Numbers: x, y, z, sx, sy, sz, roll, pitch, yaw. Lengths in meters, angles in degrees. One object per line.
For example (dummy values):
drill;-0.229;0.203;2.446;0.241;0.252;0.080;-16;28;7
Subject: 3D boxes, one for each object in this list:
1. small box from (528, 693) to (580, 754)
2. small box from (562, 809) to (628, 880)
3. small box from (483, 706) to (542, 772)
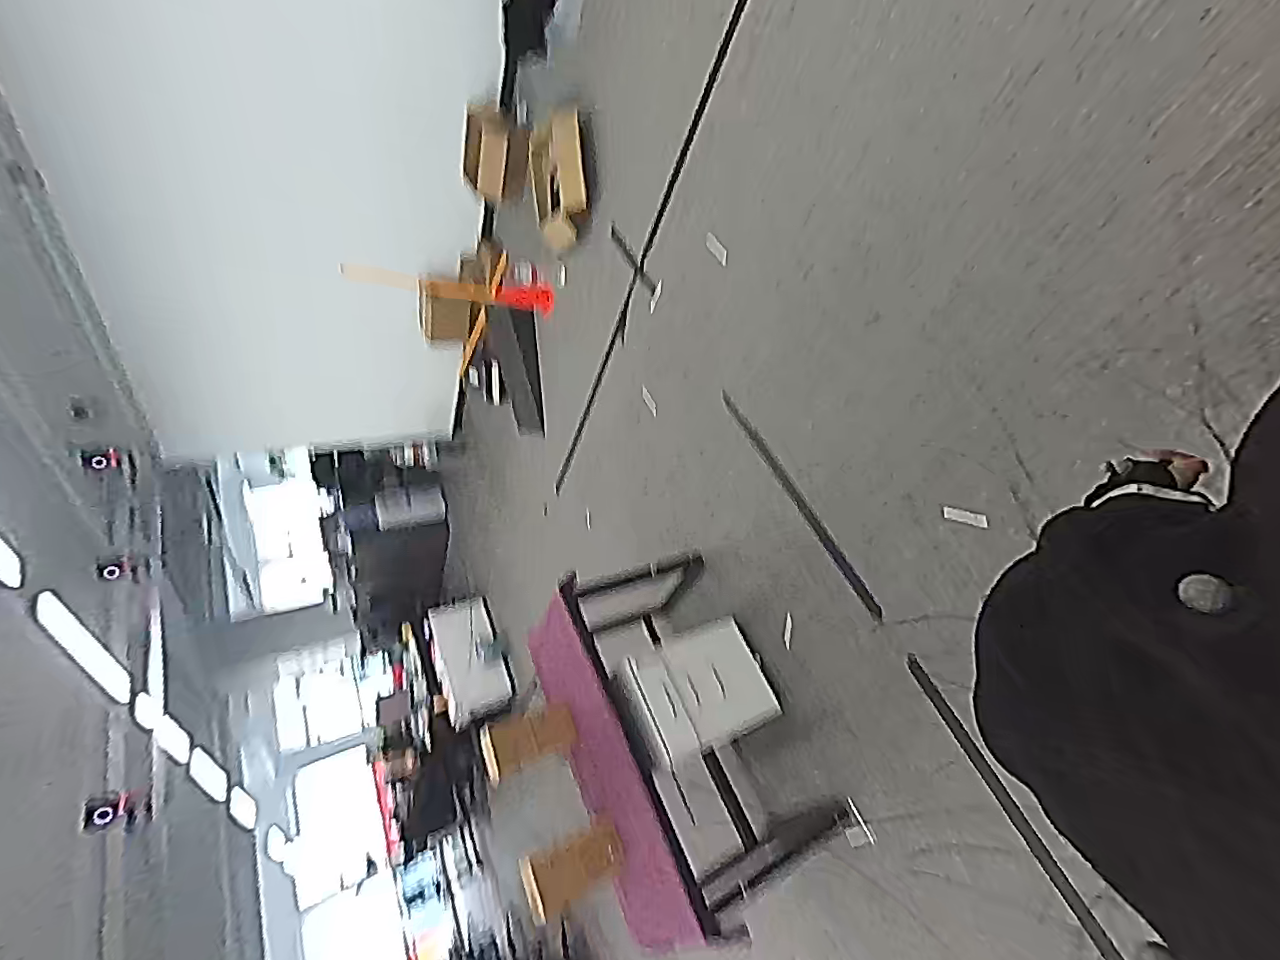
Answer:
small box;-0.372;1.003;2.242;0.179;0.176;0.168;64;144;24
small box;-0.167;1.357;2.020;0.179;0.176;0.168;-52;57;48
small box;-0.509;1.029;2.156;0.179;0.176;0.168;64;144;22
